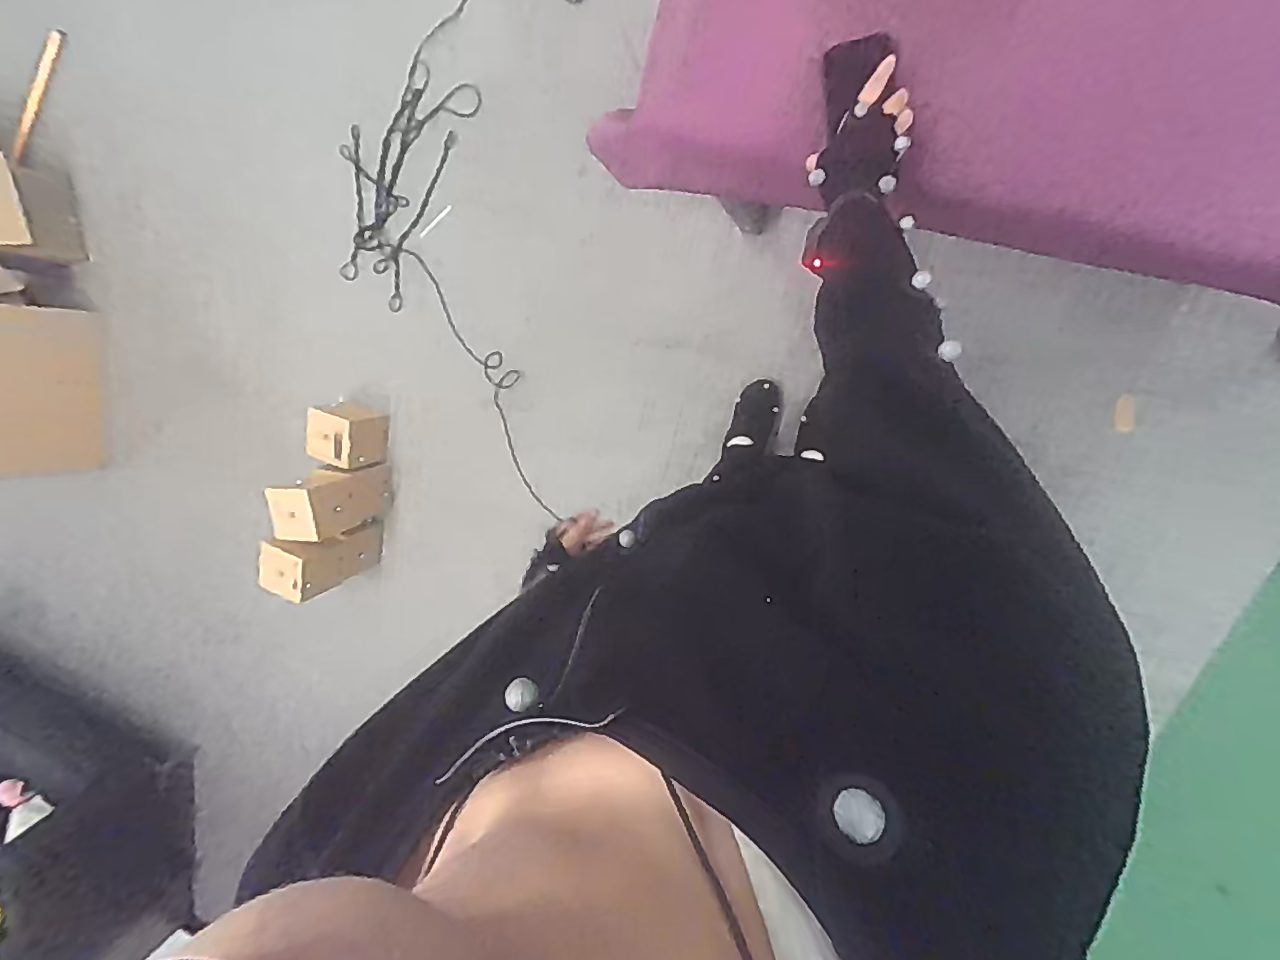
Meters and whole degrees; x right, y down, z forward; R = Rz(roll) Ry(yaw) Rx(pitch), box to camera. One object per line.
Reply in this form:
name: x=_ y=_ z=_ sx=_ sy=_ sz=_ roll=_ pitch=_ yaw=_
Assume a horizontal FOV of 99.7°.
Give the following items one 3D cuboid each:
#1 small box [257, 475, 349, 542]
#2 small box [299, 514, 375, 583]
small box: x=-1.034 y=0.084 z=1.680 sx=0.179 sy=0.176 sz=0.168 roll=1 pitch=104 yaw=19
small box: x=-1.062 y=0.228 z=1.902 sx=0.168 sy=0.176 sz=0.179 roll=19 pitch=109 yaw=15
